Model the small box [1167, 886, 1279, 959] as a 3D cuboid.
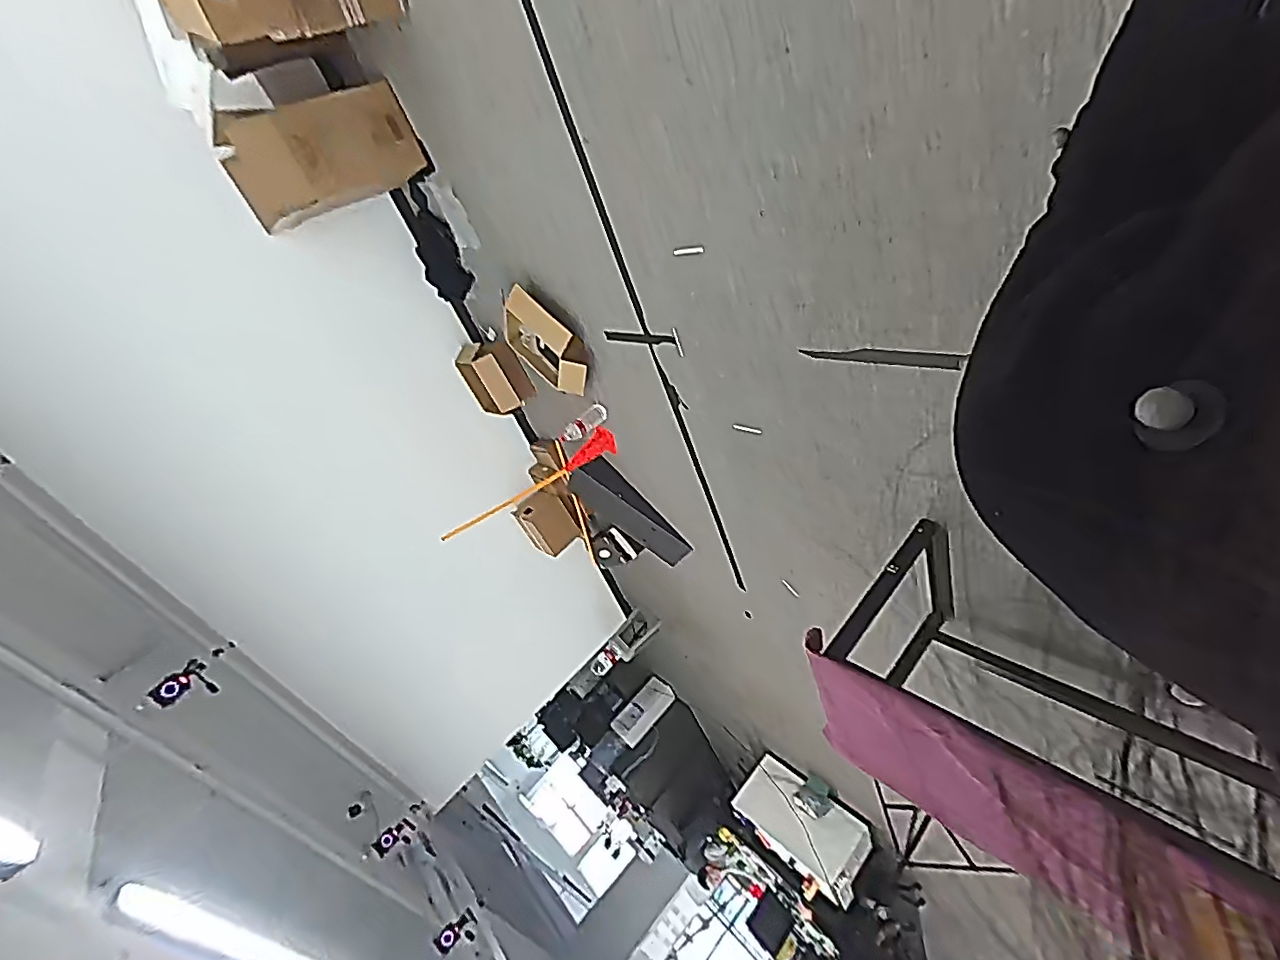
[{"bbox_3d":[1.151,0.947,1.046,0.168,0.176,0.179,16,140,49],"label":"small box"}]
